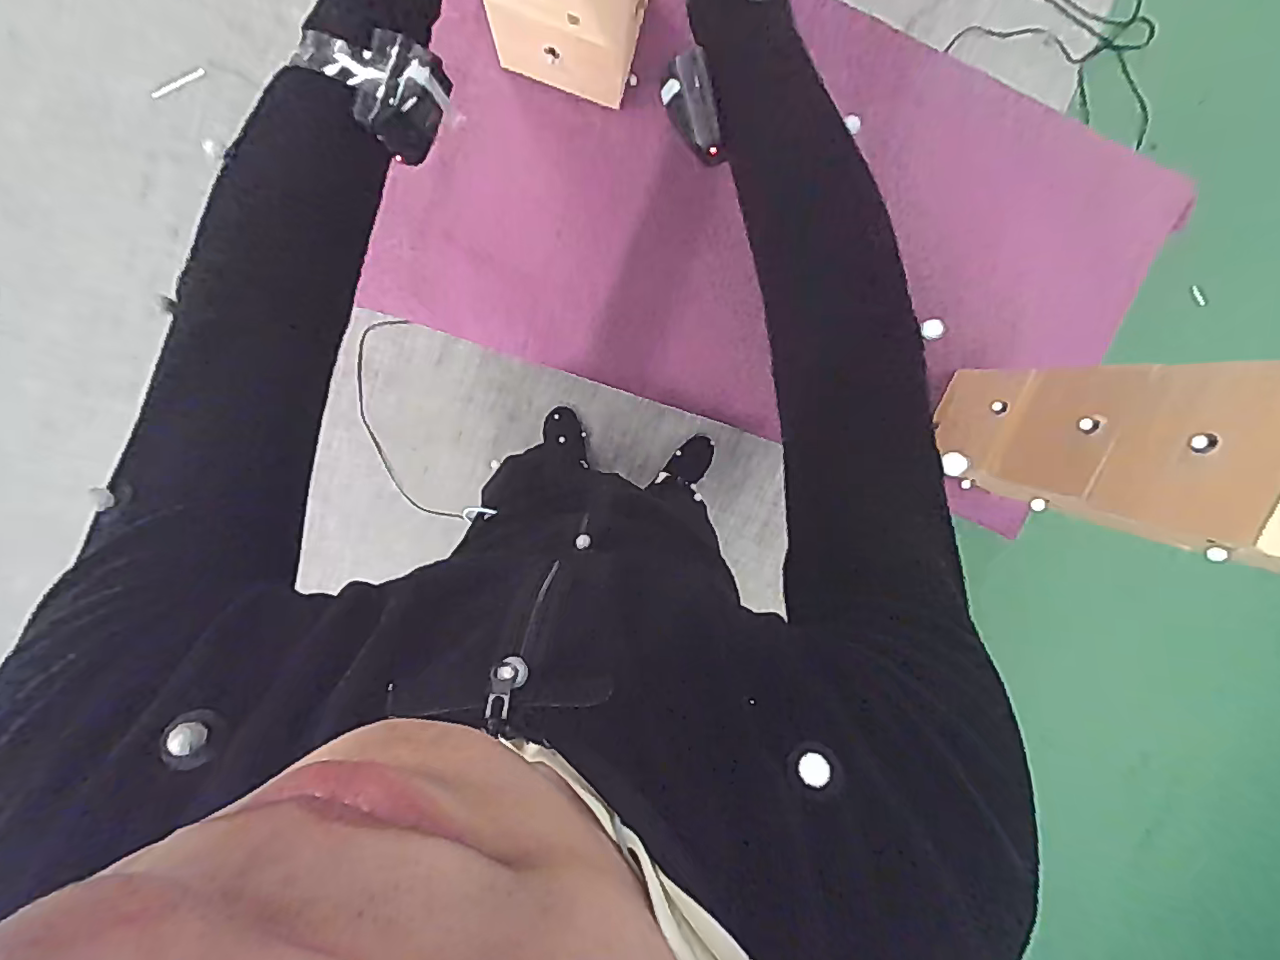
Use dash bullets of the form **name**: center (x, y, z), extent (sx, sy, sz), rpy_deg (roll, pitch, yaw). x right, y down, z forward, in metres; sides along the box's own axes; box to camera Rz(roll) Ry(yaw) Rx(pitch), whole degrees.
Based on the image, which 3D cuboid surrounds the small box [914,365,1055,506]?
- **small box**: center (0.592, -0.078, 0.871), extent (0.179, 0.176, 0.168), rpy_deg (22, 98, -10)

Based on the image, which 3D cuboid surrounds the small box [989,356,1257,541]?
- **small box**: center (0.613, -0.048, 0.712), extent (0.168, 0.176, 0.179), rpy_deg (22, 99, -9)

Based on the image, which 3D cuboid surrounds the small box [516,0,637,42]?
- **small box**: center (-0.064, -0.582, 0.521), extent (0.168, 0.176, 0.179), rpy_deg (15, 100, -9)

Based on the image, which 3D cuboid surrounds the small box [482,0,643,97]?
- **small box**: center (-0.085, -0.623, 0.676), extent (0.179, 0.176, 0.168), rpy_deg (15, 100, -9)
